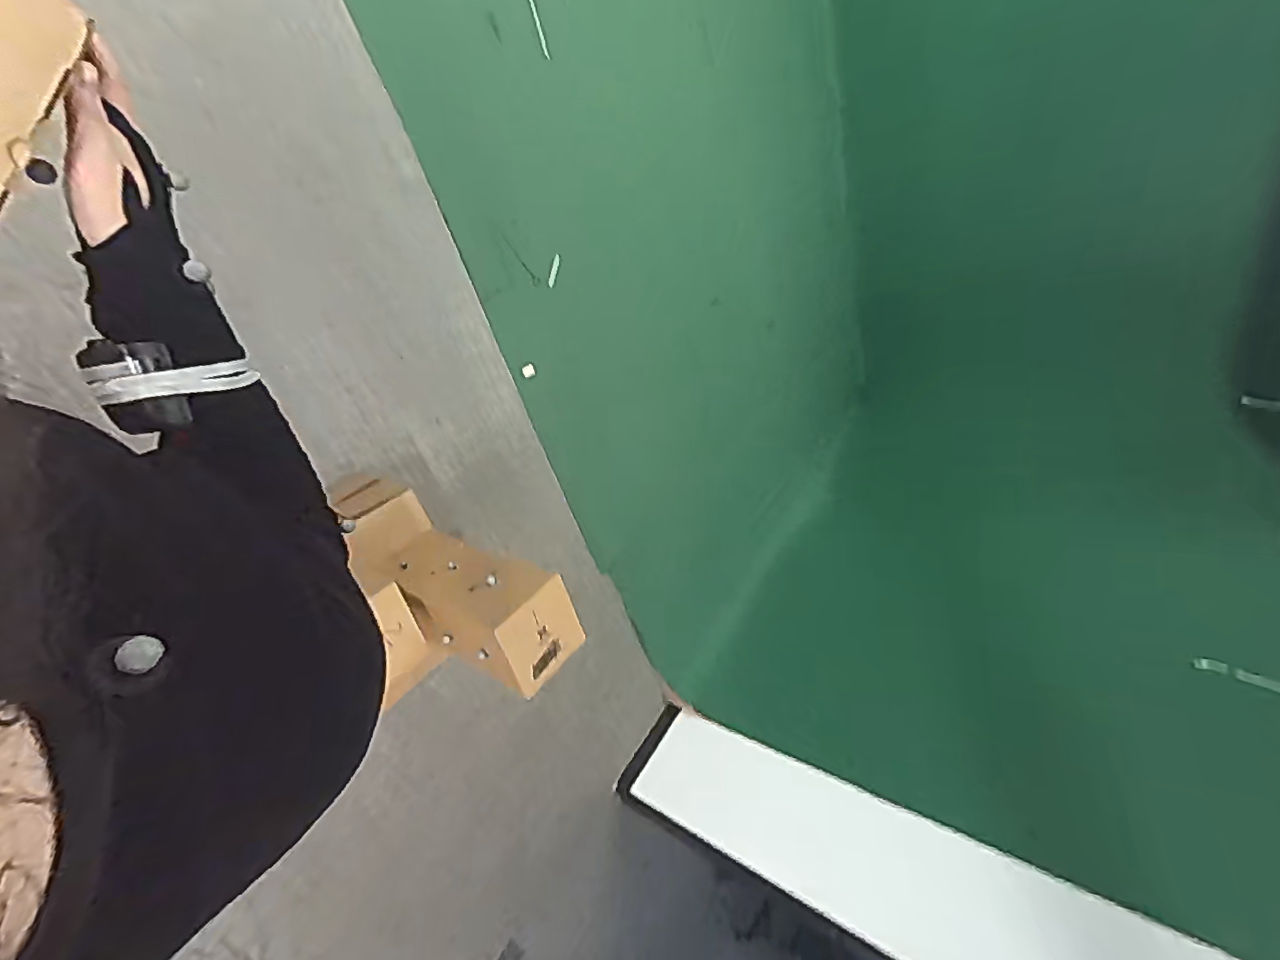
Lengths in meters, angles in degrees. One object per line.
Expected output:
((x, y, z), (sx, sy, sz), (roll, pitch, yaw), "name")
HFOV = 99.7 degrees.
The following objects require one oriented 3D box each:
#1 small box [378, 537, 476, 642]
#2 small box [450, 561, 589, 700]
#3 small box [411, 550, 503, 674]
((-0.475, 0.249, 1.265), (0.168, 0.176, 0.179), (-40, 127, -38), "small box")
((-0.231, 0.281, 1.049), (0.168, 0.176, 0.179), (-40, 125, -39), "small box")
((-0.352, 0.273, 1.160), (0.168, 0.176, 0.179), (-40, 124, -38), "small box")
